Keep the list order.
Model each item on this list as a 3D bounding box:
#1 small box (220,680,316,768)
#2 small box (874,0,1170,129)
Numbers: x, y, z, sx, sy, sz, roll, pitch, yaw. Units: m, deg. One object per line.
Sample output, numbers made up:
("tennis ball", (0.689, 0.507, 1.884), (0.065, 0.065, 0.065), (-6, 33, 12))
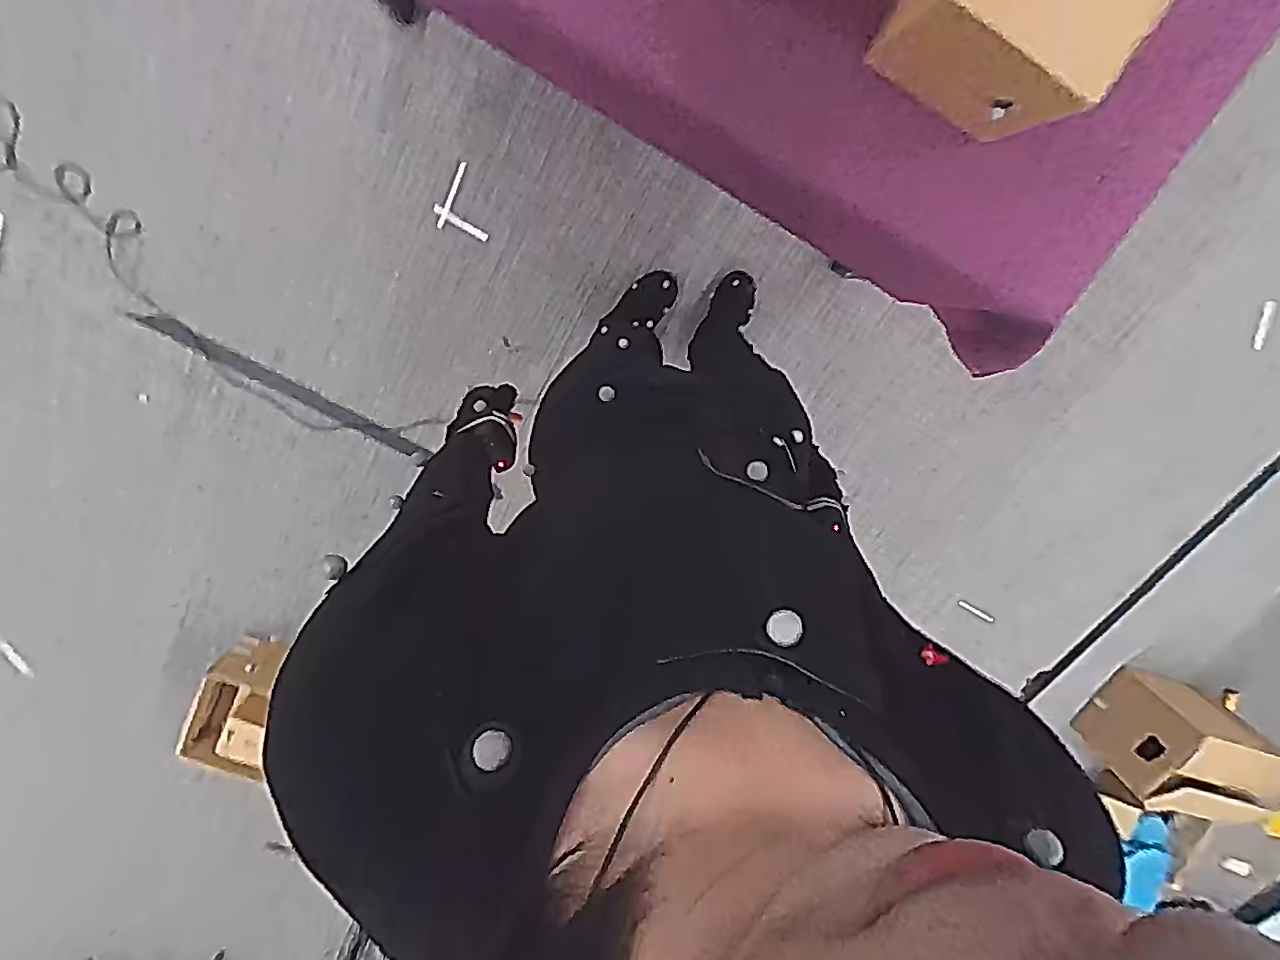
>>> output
("small box", (-1.178, 0.772, 1.724), (0.179, 0.176, 0.168), (28, 108, -15))
("small box", (0.367, -0.468, 0.513), (0.179, 0.176, 0.168), (24, 108, -10))
